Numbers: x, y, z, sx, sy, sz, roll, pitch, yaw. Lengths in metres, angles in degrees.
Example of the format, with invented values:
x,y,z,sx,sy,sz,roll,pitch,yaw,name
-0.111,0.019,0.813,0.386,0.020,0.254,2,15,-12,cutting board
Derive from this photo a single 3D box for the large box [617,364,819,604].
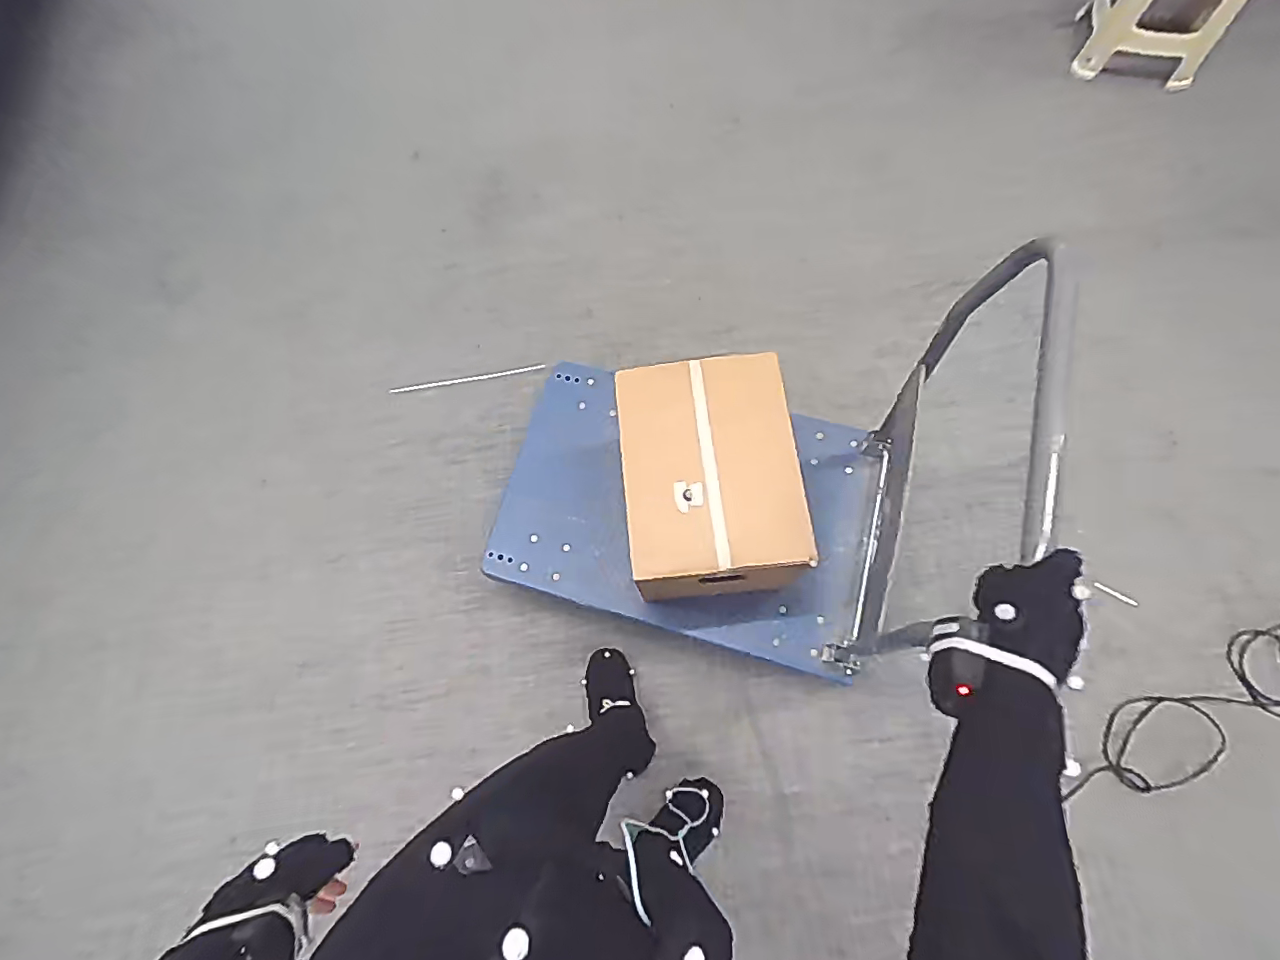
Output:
x,y,z,sx,sy,sz,roll,pitch,yaw,name
0.138,0.025,1.119,0.320,0.320,0.408,-7,71,2,large box
